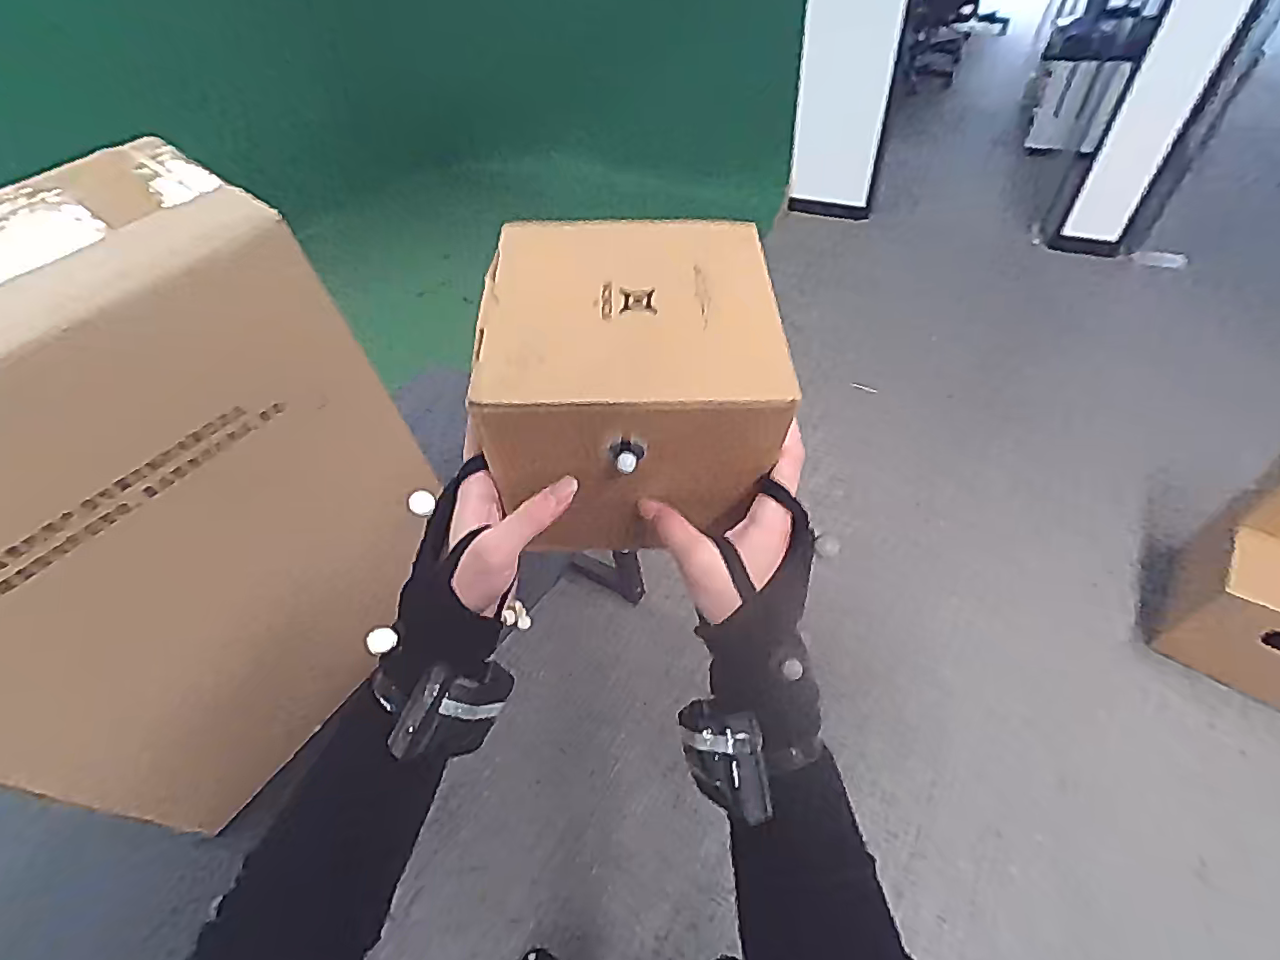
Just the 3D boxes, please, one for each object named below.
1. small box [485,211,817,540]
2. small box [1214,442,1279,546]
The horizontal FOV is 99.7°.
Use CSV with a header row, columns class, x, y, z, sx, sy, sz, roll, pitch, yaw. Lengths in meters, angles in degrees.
class,x,y,z,sx,sy,sz,roll,pitch,yaw
small box,0.002,-0.067,0.387,0.179,0.176,0.168,0,54,-4
small box,1.575,0.044,1.315,0.179,0.176,0.168,29,58,31
